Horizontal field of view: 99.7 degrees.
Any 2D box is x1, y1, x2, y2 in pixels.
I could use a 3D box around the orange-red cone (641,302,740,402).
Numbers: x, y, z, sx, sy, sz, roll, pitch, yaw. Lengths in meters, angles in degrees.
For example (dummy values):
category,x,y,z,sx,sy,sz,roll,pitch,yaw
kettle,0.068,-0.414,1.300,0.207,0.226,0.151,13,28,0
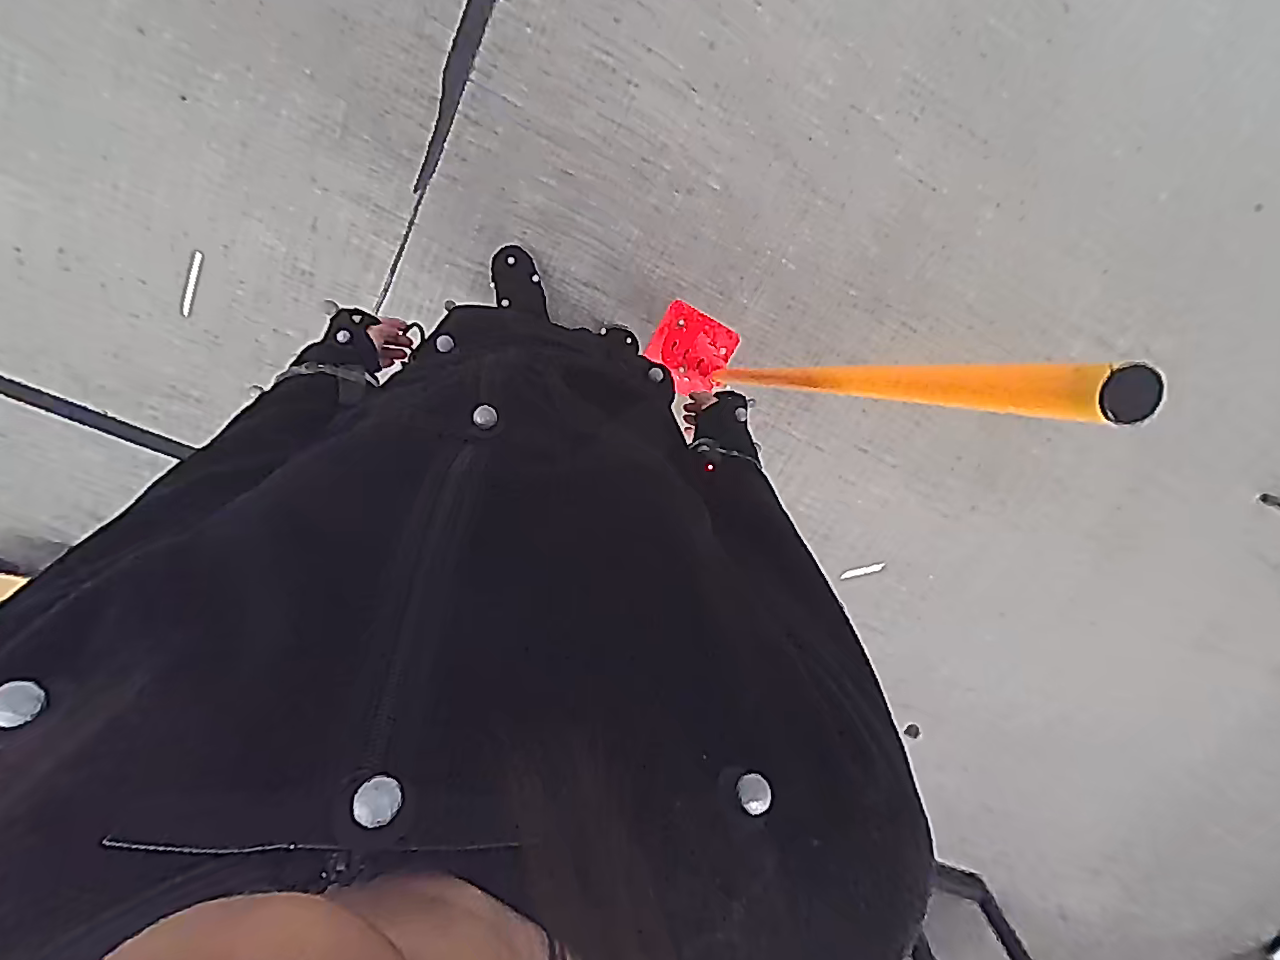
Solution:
category,x,y,z,sx,sy,sz,roll,pitch,yaw
orange-red cone,0.135,-0.255,1.186,0.198,0.360,0.199,28,107,-13
